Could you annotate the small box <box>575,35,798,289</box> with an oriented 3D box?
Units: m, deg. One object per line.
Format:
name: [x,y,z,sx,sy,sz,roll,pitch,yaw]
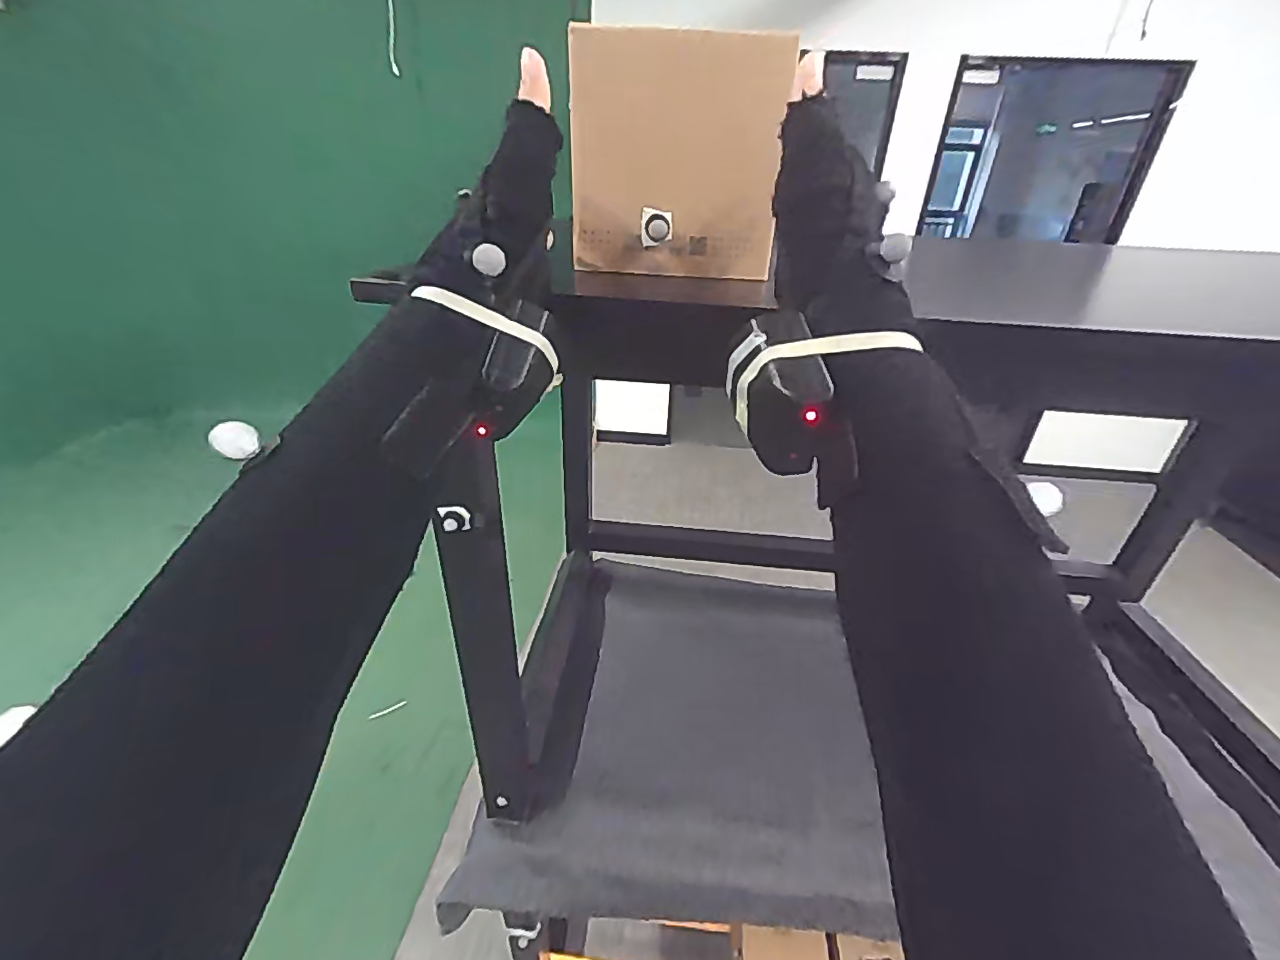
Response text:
small box: [0.033,-0.283,0.500,0.168,0.176,0.179,2,30,1]
